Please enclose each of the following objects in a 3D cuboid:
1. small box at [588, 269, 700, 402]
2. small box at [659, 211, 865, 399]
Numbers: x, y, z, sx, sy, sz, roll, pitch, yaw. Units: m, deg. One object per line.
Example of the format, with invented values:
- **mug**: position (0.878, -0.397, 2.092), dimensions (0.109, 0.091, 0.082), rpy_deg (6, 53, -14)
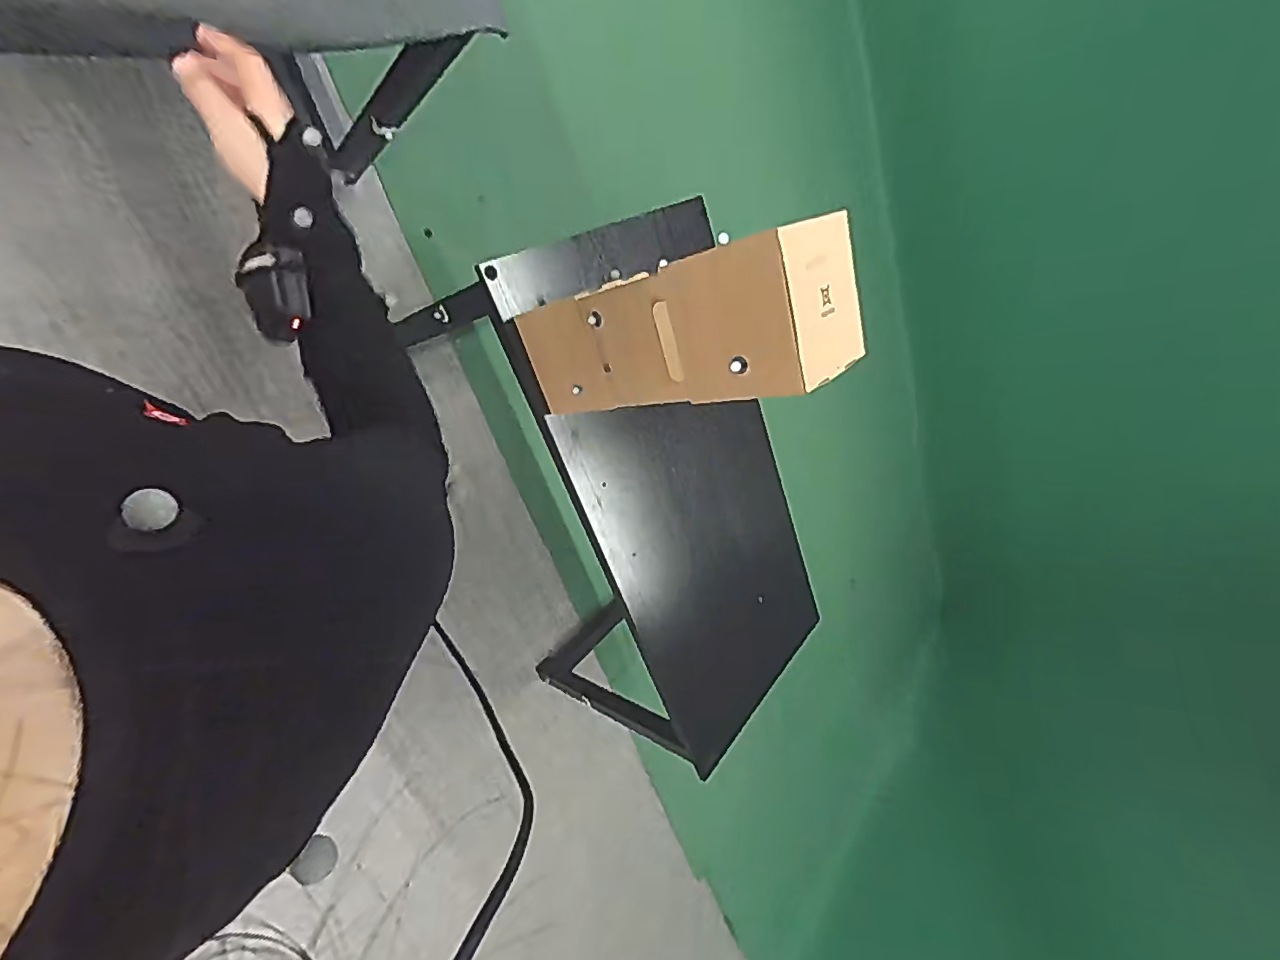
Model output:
- **small box**: position (0.044, -0.218, 0.784), dimensions (0.179, 0.176, 0.168), rpy_deg (-33, 116, -38)
- **small box**: position (0.150, -0.205, 0.661), dimensions (0.168, 0.176, 0.179), rpy_deg (-33, 115, -39)
